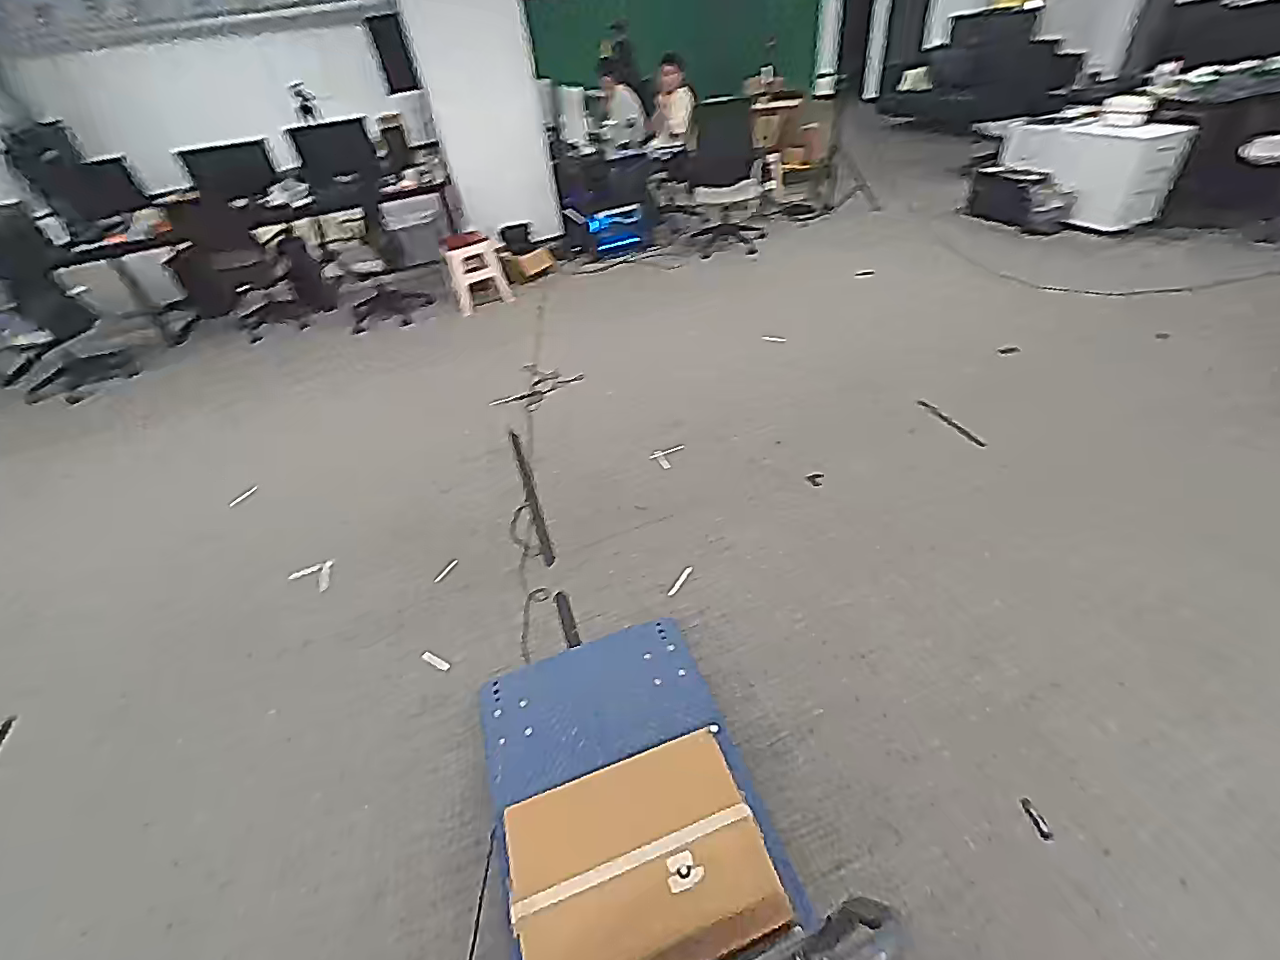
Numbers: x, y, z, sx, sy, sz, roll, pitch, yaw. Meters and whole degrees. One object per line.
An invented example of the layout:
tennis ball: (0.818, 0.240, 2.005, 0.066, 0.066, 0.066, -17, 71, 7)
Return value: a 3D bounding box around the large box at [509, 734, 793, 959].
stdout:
large box: (0.014, 0.746, 0.982, 0.408, 0.320, 0.320, -16, 41, -11)
